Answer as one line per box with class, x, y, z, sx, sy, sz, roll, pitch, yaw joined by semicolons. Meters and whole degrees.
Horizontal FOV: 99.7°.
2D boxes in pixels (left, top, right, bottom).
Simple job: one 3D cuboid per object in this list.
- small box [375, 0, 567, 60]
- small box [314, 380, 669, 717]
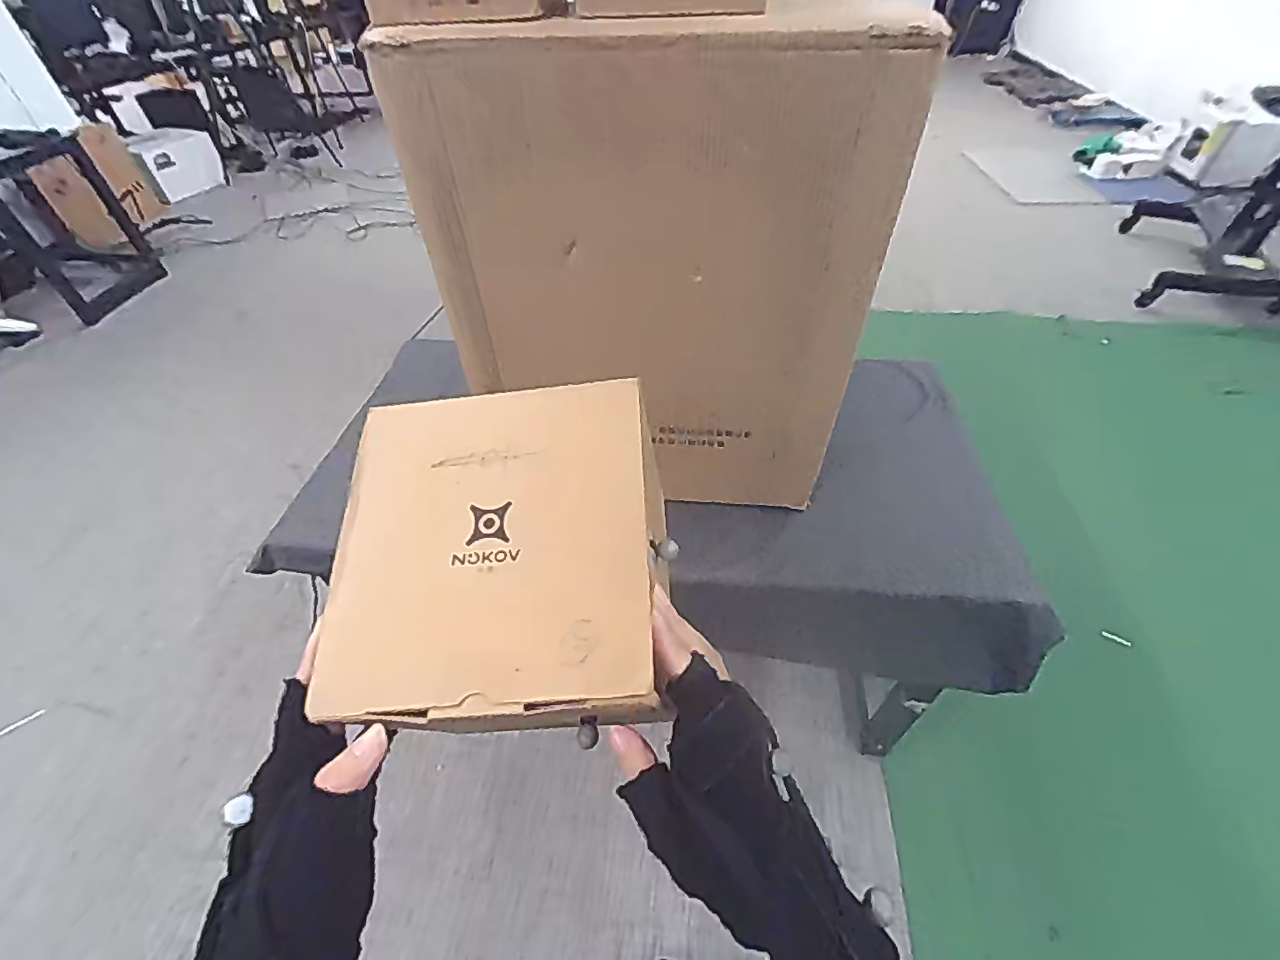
small box;-0.171;-0.531;0.529;0.168;0.176;0.179;-2;48;3
small box;-0.073;0.060;0.363;0.168;0.176;0.179;-6;63;5
